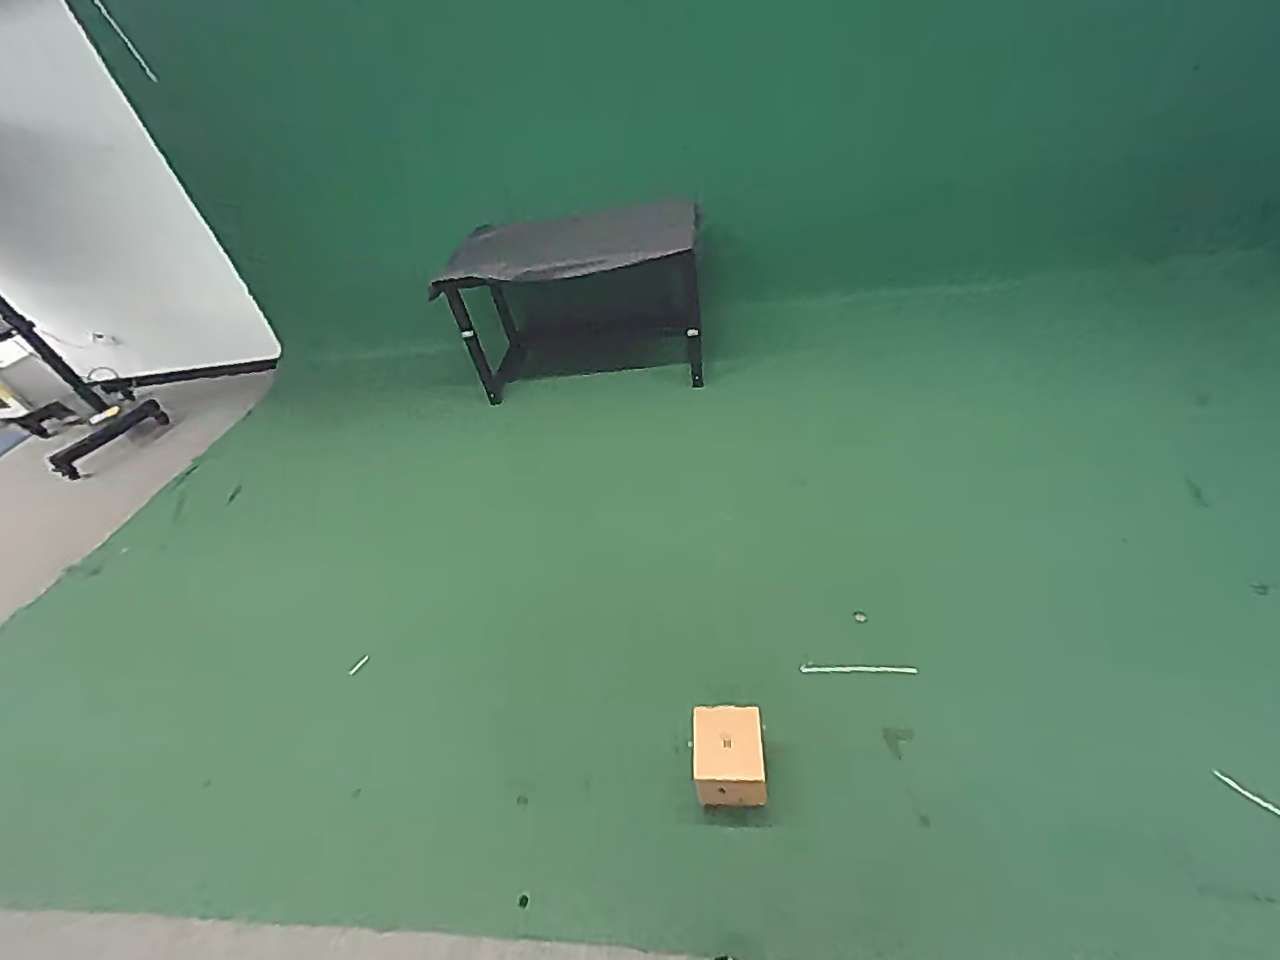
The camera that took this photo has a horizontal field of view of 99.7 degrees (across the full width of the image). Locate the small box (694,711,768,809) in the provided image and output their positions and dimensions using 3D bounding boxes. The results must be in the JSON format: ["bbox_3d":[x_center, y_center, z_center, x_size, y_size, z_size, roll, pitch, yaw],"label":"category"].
[{"bbox_3d":[0.227,0.702,1.351,0.168,0.176,0.179,-5,40,10],"label":"small box"}]
